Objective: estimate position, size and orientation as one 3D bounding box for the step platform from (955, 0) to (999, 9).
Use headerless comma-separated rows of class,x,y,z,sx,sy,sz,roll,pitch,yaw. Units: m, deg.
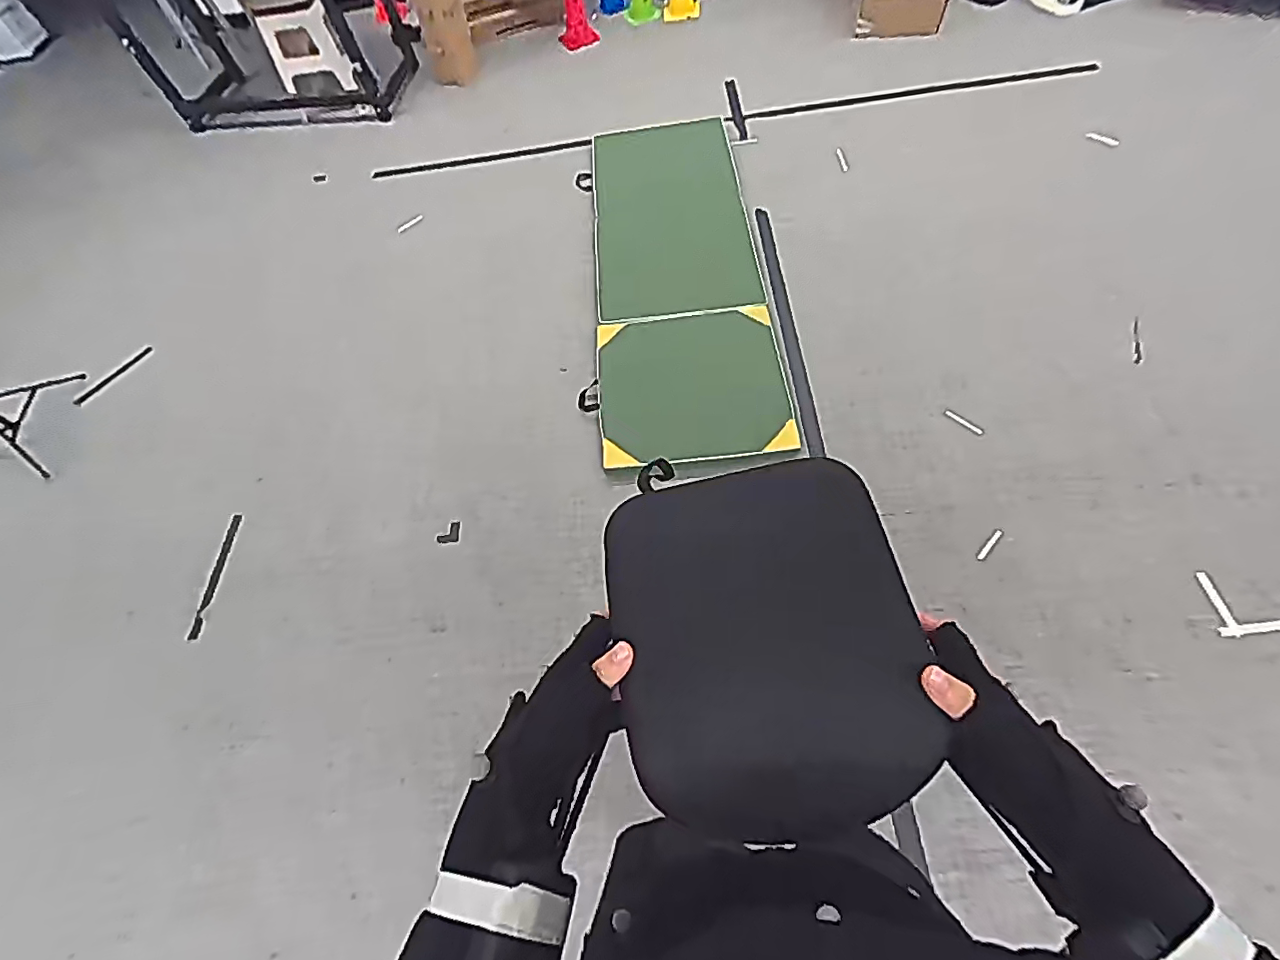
step platform,1.950,-2.693,2.783,0.684,0.204,0.286,-32,63,-10
